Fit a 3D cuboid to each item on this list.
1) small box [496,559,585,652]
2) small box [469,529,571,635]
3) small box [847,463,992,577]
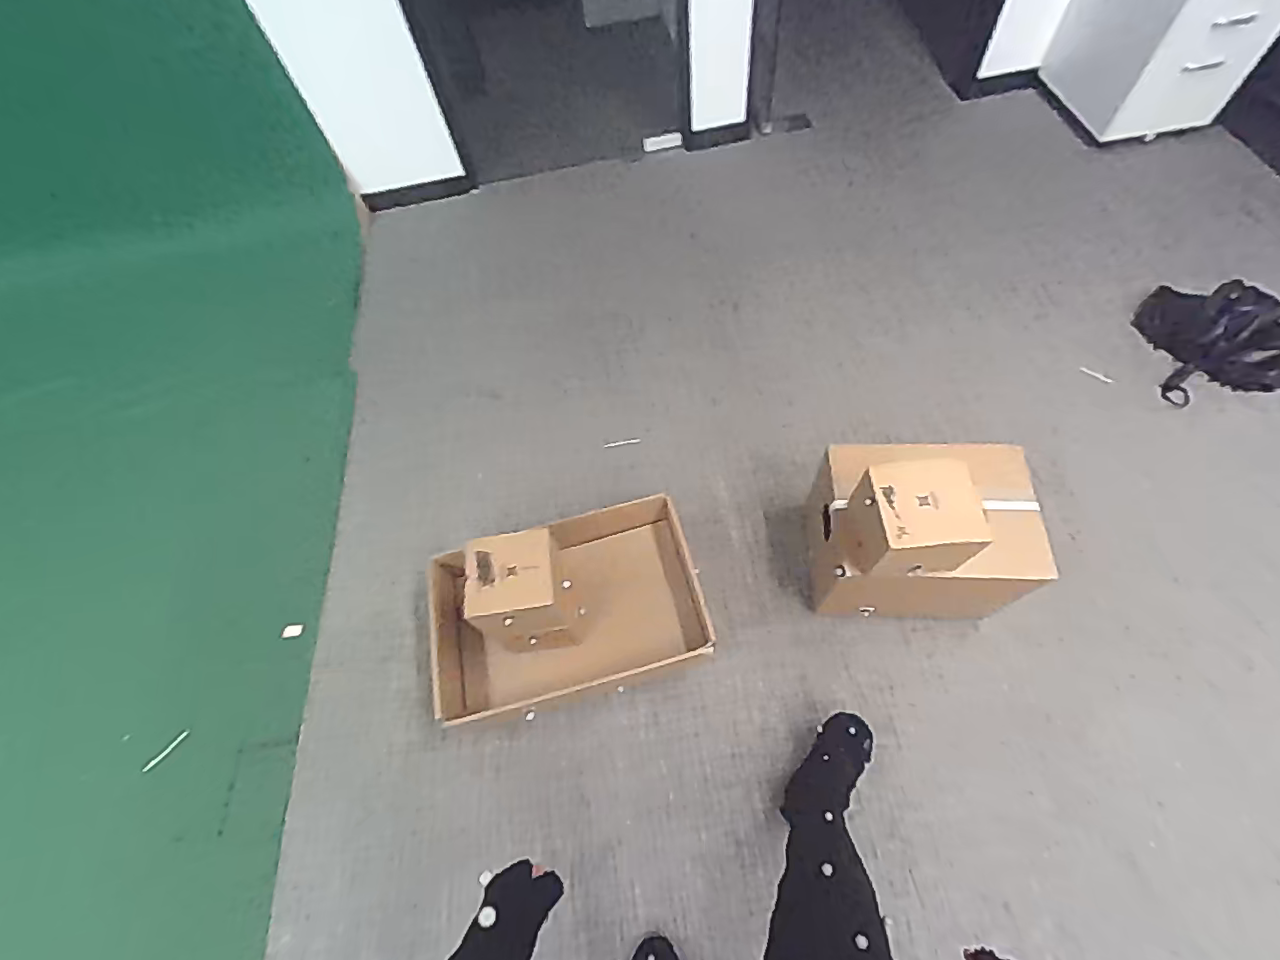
[{"bbox_3d":[-0.236,0.306,1.300,0.179,0.176,0.168,-8,61,-1],"label":"small box"},{"bbox_3d":[-0.252,0.224,1.158,0.179,0.176,0.168,-9,61,-1],"label":"small box"},{"bbox_3d":[0.519,0.081,1.033,0.179,0.176,0.168,-5,62,3],"label":"small box"}]
